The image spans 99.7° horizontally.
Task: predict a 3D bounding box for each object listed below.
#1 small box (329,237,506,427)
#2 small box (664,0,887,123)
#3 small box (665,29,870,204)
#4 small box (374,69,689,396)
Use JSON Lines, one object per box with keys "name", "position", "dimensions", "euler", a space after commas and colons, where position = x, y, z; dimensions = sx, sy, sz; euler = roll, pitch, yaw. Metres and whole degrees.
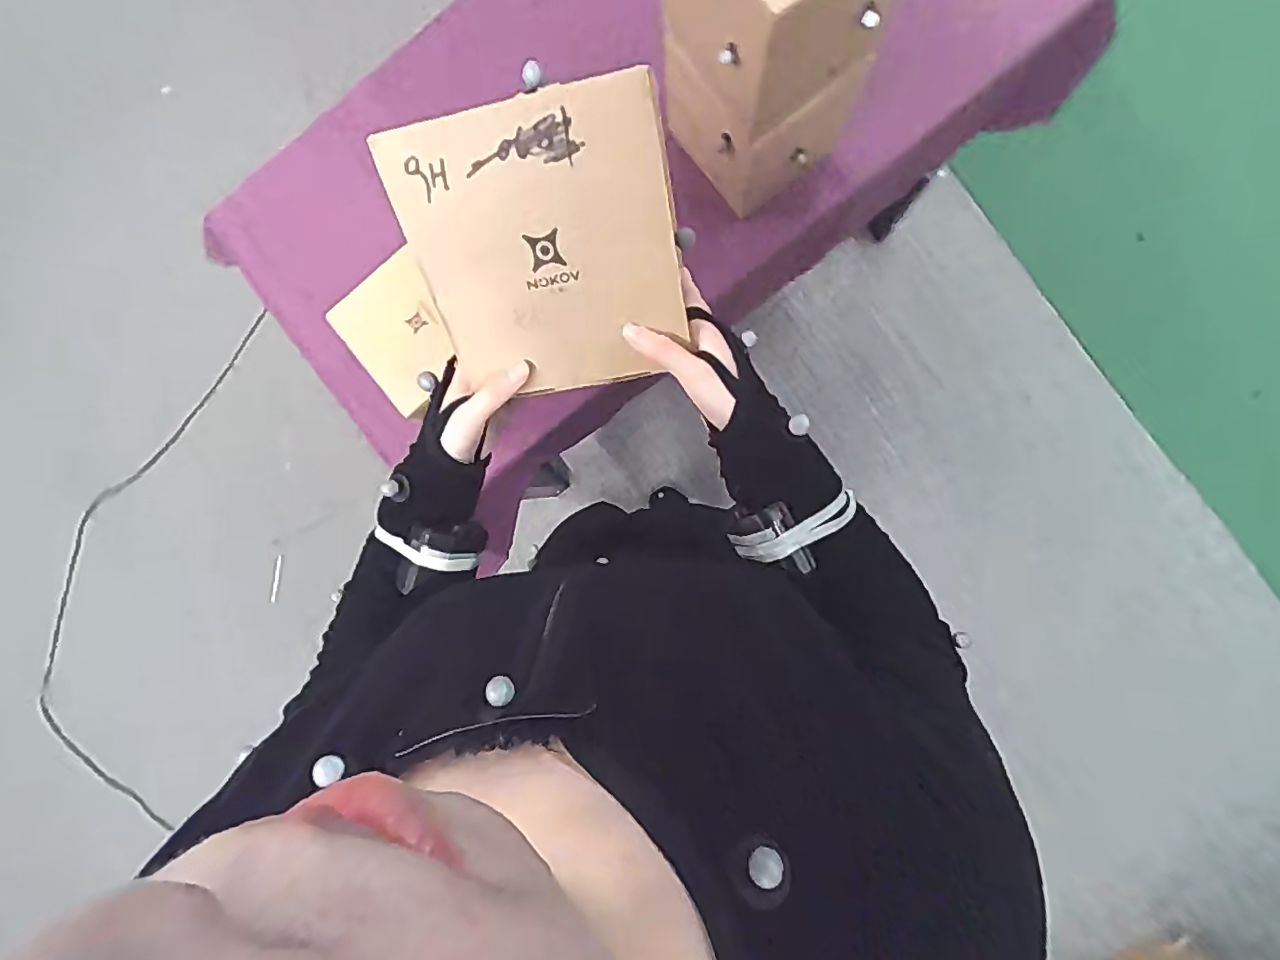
{"name": "small box", "position": [-0.254, -0.189, 0.721], "dimensions": [0.179, 0.176, 0.168], "euler": [-39, 85, 3]}
{"name": "small box", "position": [0.133, -0.494, 0.525], "dimensions": [0.168, 0.176, 0.179], "euler": [-34, 86, 4]}
{"name": "small box", "position": [0.150, -0.487, 0.687], "dimensions": [0.168, 0.176, 0.179], "euler": [-36, 86, 3]}
{"name": "small box", "position": [-0.053, -0.187, 0.408], "dimensions": [0.168, 0.176, 0.179], "euler": [-7, 126, 9]}
